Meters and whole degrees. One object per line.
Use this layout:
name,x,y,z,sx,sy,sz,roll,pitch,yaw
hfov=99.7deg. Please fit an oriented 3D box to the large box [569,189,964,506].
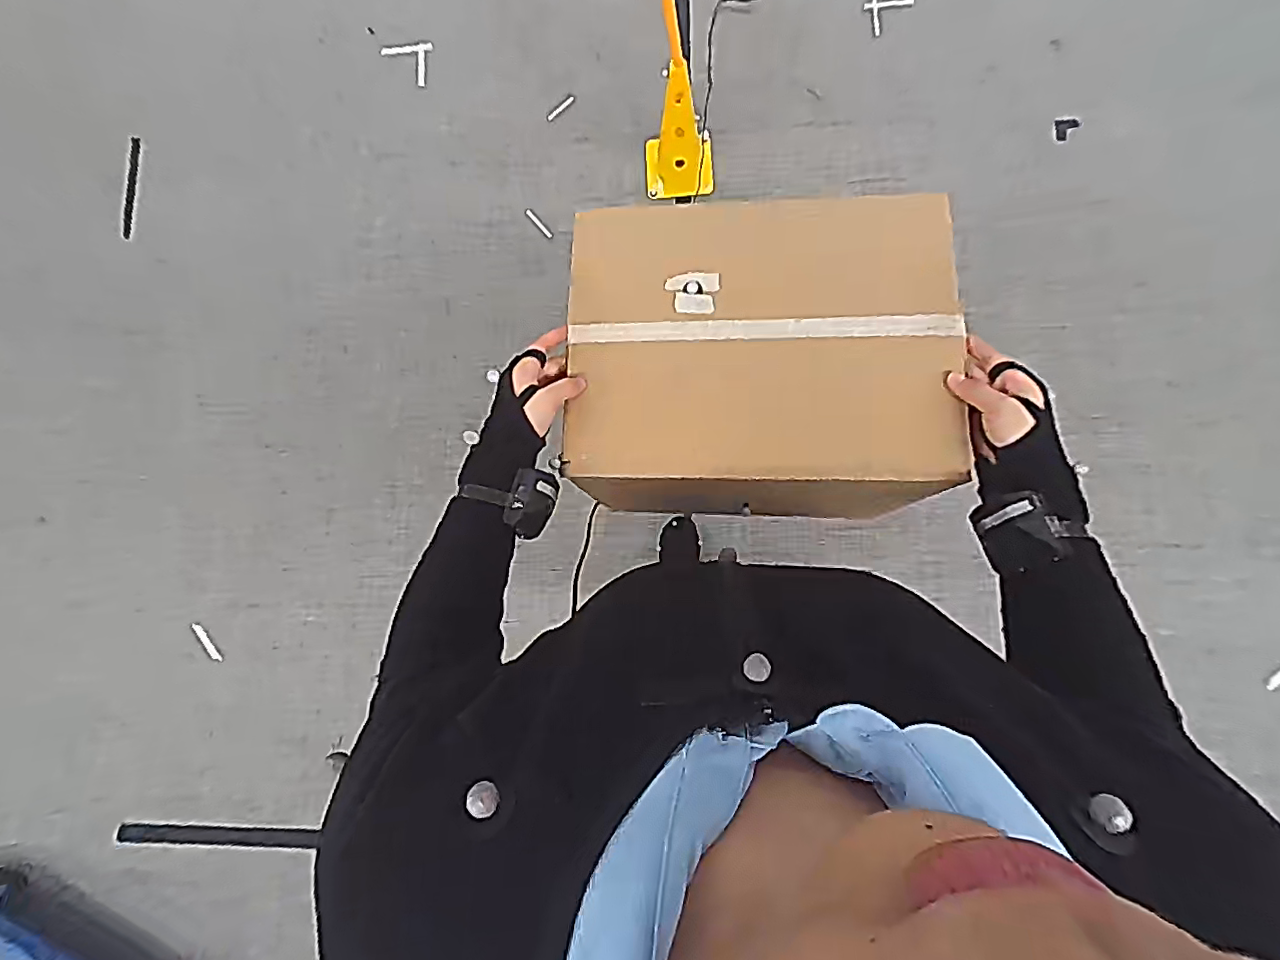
large box,0.142,-0.135,0.724,0.408,0.320,0.320,0,79,7
